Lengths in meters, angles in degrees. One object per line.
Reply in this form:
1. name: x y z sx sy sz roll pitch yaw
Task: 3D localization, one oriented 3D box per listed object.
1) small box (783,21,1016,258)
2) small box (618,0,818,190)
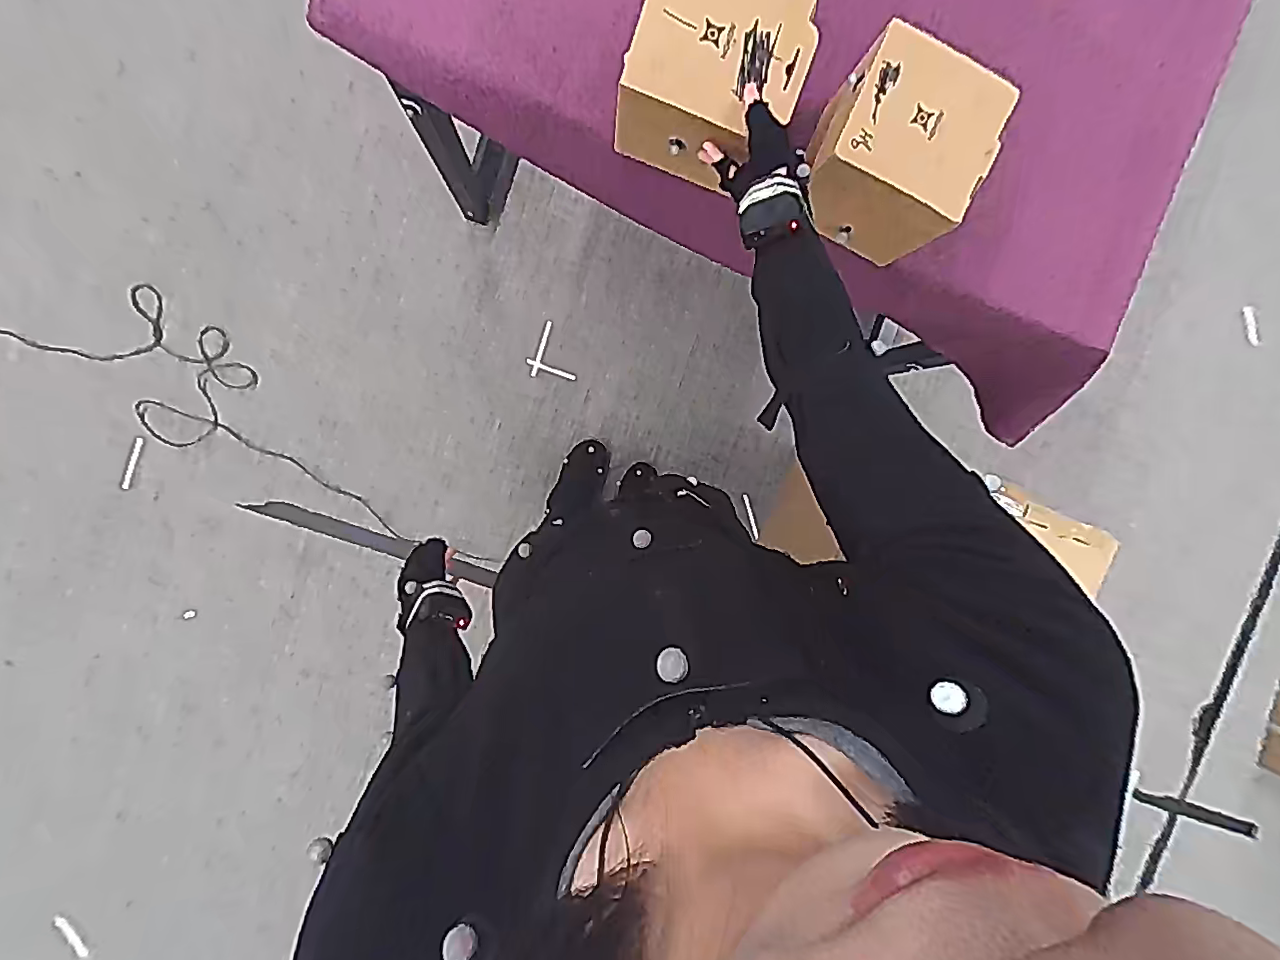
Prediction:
1. small box: 0.317 -0.412 0.695 0.179 0.176 0.168 24 91 -8
2. small box: 0.080 -0.484 0.659 0.179 0.176 0.168 19 97 -6
